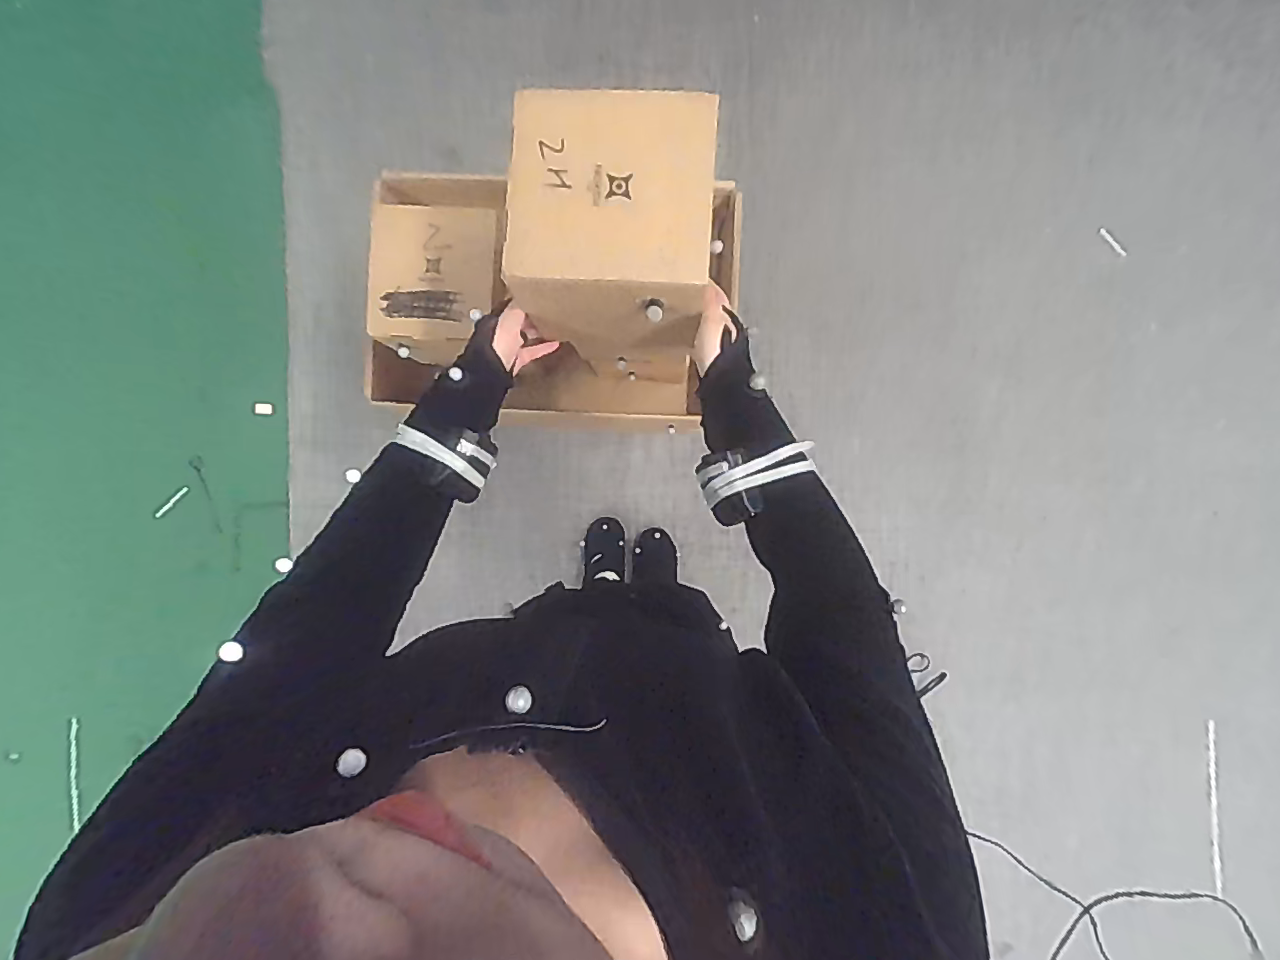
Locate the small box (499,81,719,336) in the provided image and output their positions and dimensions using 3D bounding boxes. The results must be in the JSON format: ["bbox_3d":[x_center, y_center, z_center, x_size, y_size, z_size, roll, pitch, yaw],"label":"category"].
[{"bbox_3d":[-0.021,-0.249,0.532,0.179,0.176,0.168,4,87,5],"label":"small box"}]

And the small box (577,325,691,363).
[{"bbox_3d":[-0.005,-0.277,0.779,0.168,0.176,0.179,5,92,3],"label":"small box"}]
